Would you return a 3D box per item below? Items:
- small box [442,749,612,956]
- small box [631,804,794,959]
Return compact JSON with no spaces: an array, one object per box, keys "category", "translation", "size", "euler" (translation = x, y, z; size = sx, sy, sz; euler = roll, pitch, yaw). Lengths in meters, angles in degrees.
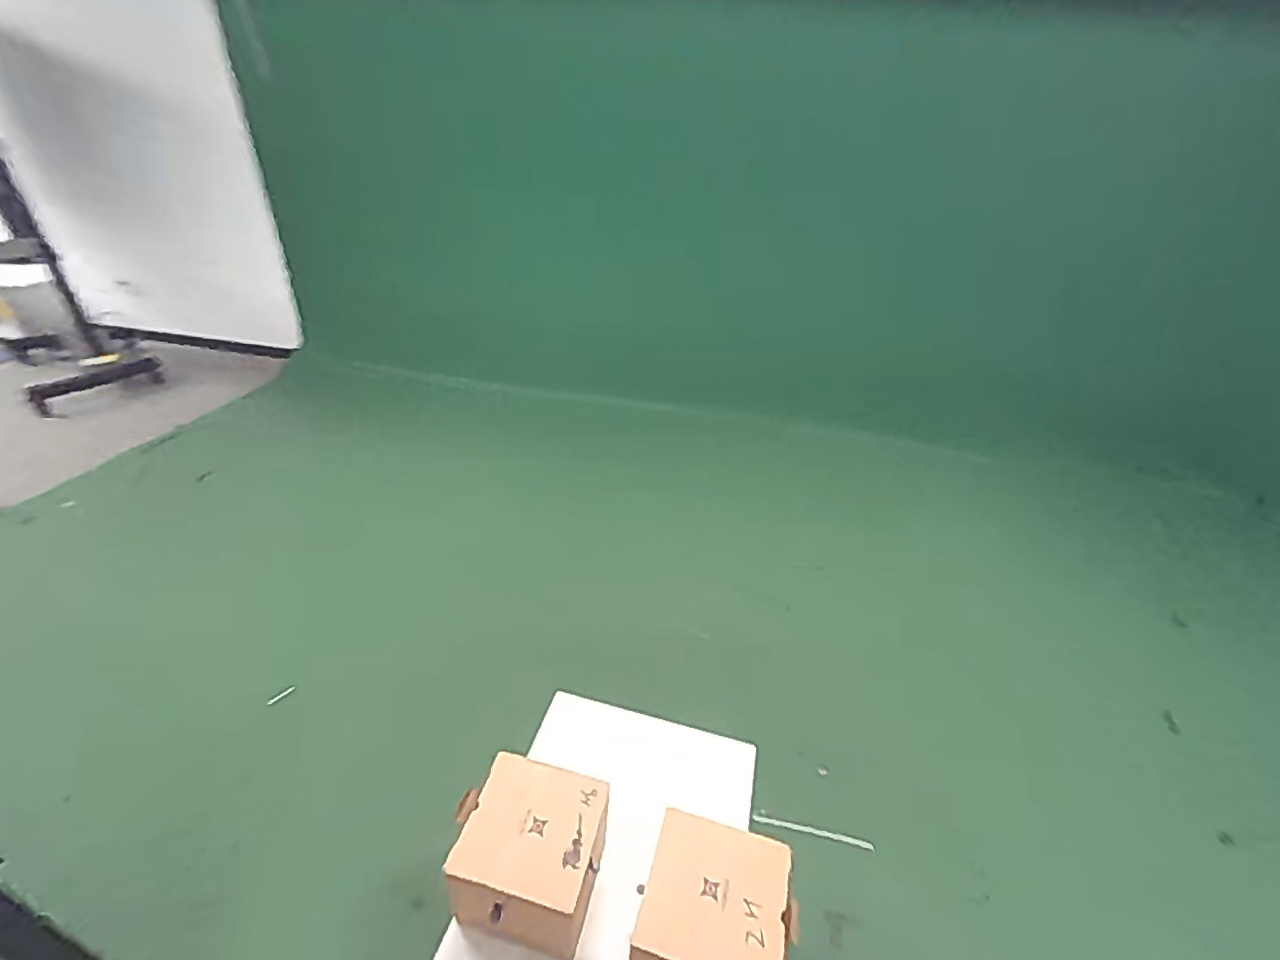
[{"category":"small box","translation":[-0.148,0.520,0.758],"size":[0.179,0.176,0.168],"euler":[11,33,10]},{"category":"small box","translation":[0.091,0.569,0.702],"size":[0.179,0.176,0.168],"euler":[12,34,12]}]
